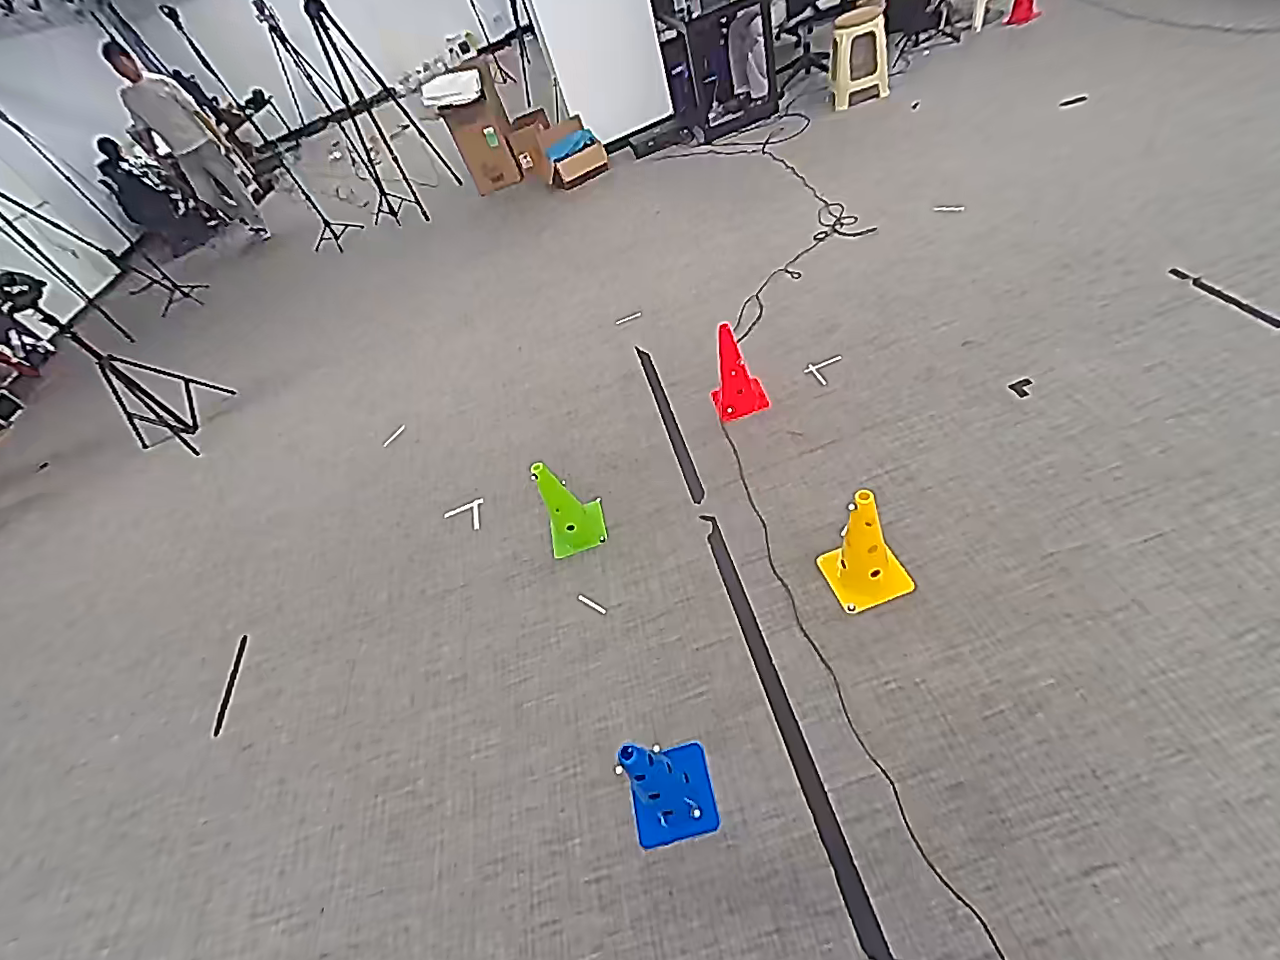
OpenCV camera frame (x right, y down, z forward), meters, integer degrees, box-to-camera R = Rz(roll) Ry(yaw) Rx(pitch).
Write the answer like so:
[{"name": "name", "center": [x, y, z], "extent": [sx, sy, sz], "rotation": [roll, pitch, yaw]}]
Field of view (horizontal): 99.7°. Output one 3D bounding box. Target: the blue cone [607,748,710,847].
[{"name": "blue cone", "center": [0.017, 0.664, 1.202], "extent": [0.192, 0.380, 0.193], "rotation": [-19, 46, 7]}]

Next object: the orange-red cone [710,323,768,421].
[{"name": "orange-red cone", "center": [0.341, -0.428, 2.016], "extent": [0.199, 0.360, 0.198], "rotation": [-17, 48, 6]}]

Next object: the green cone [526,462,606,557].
[{"name": "green cone", "center": [-0.281, 0.065, 1.832], "extent": [0.202, 0.368, 0.200], "rotation": [-21, 46, 5]}]
